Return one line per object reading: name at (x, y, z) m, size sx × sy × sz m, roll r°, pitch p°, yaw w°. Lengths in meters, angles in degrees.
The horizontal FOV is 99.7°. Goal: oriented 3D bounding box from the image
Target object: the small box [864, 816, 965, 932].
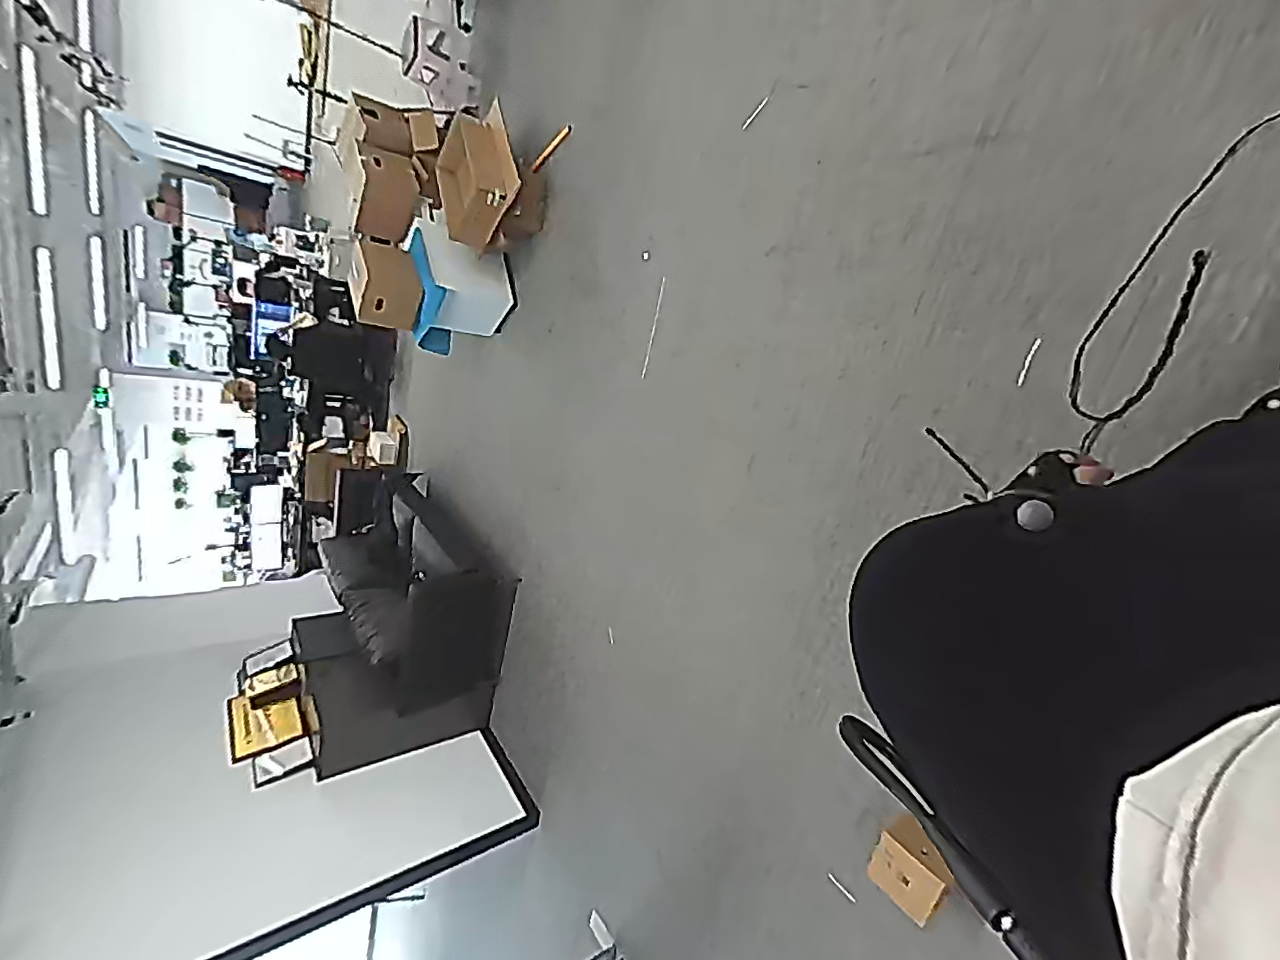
small box at (0.777, 1.099, 1.526) m, size 0.179 × 0.176 × 0.168 m, roll 31°, pitch 113°, yaw 47°
